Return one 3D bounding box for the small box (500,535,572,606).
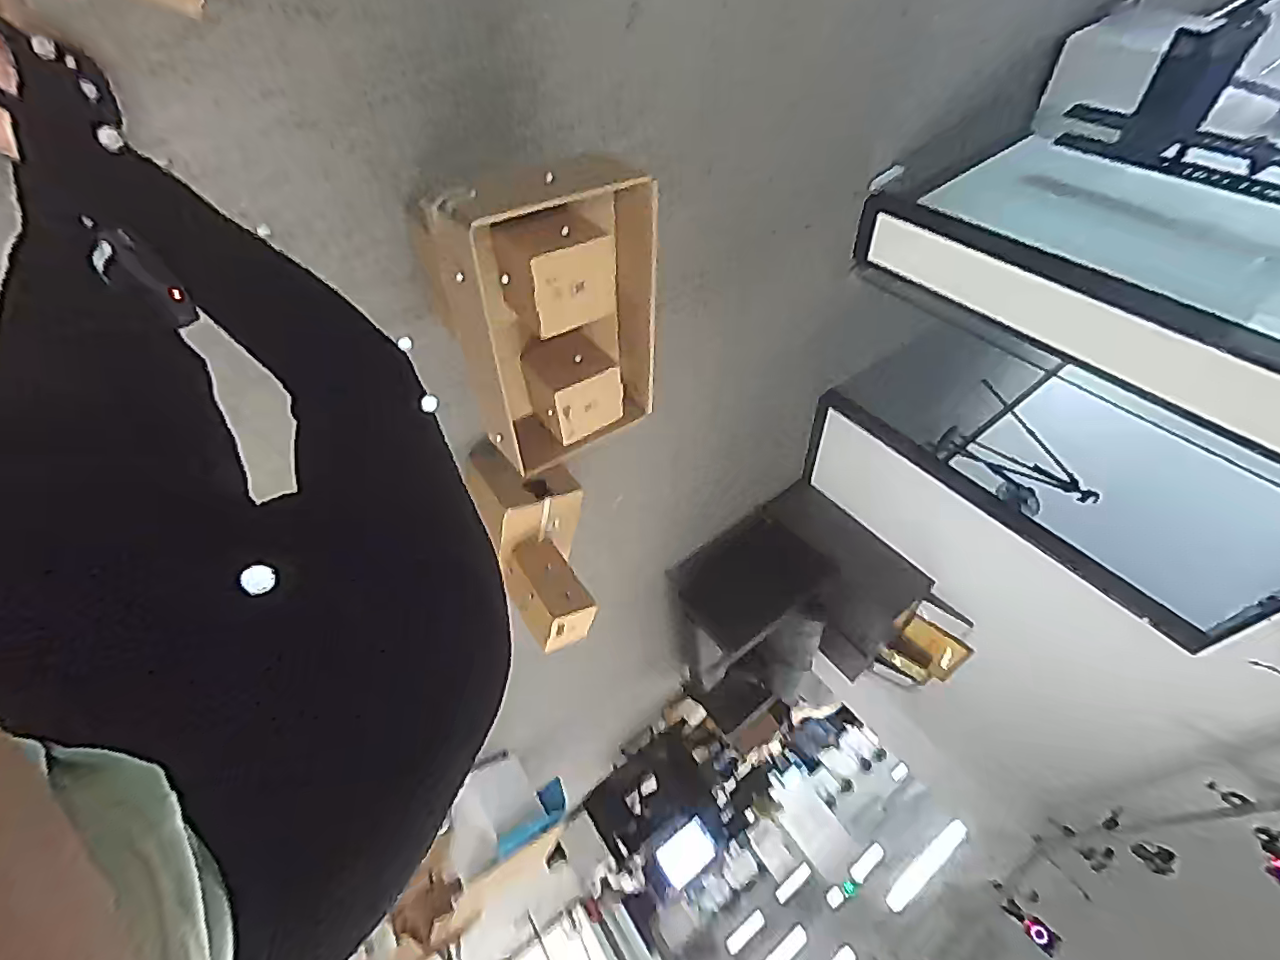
[{"bbox_3d":[-0.377,0.318,1.943,0.179,0.176,0.168,-10,134,-40],"label":"small box"}]

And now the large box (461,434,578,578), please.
[{"bbox_3d":[-0.468,0.092,2.042,0.320,0.320,0.408,-18,139,-37],"label":"large box"}]

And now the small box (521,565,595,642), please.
[{"bbox_3d":[-0.286,0.417,1.849,0.179,0.176,0.168,-11,135,-41],"label":"small box"}]
